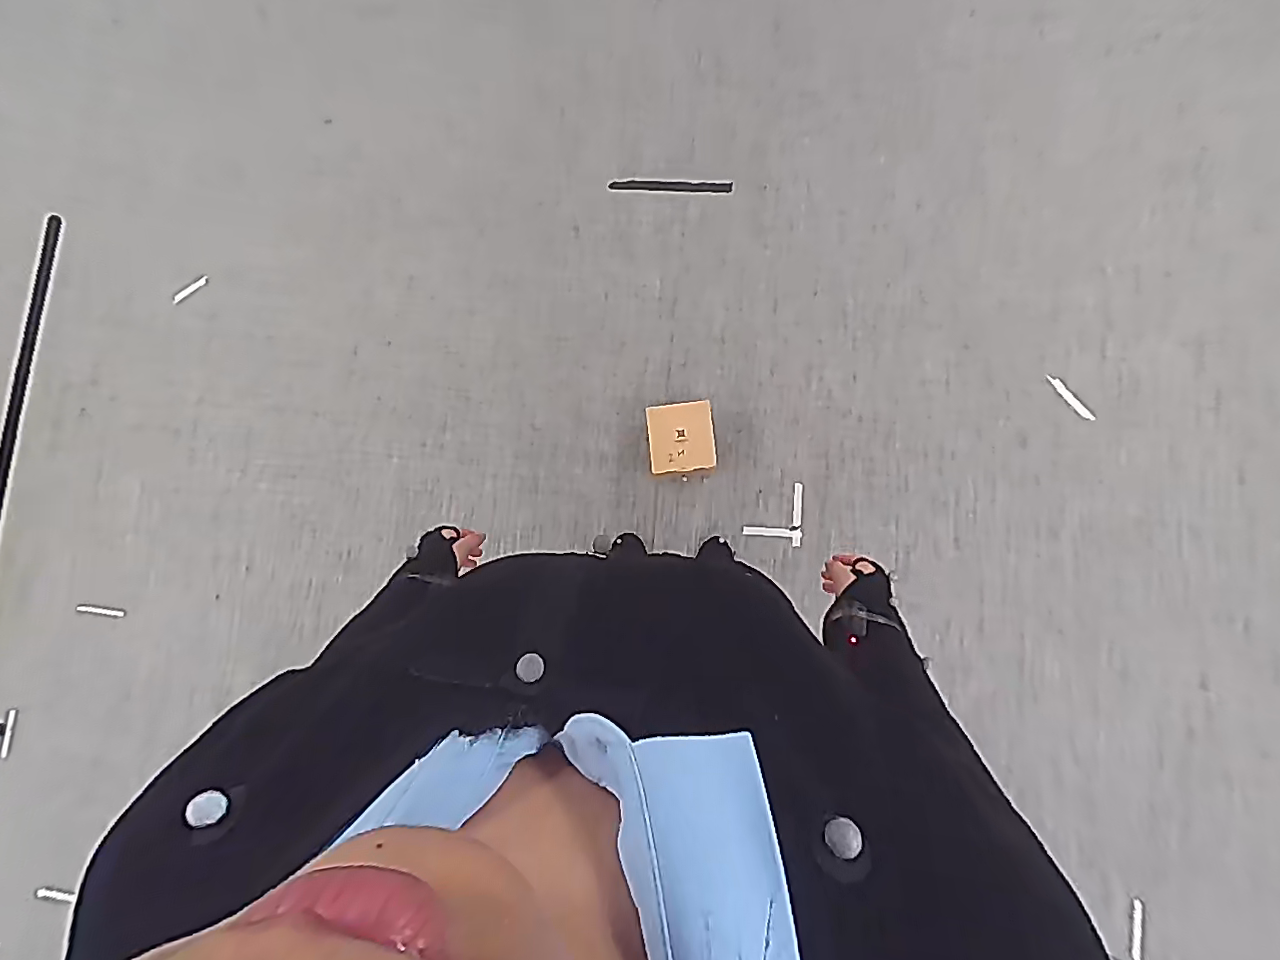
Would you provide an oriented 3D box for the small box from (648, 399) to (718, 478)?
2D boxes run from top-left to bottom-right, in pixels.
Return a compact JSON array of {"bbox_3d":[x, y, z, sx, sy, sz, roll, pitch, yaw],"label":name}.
[{"bbox_3d":[0.112,-0.105,1.439,0.168,0.176,0.179,-6,85,5],"label":"small box"}]
